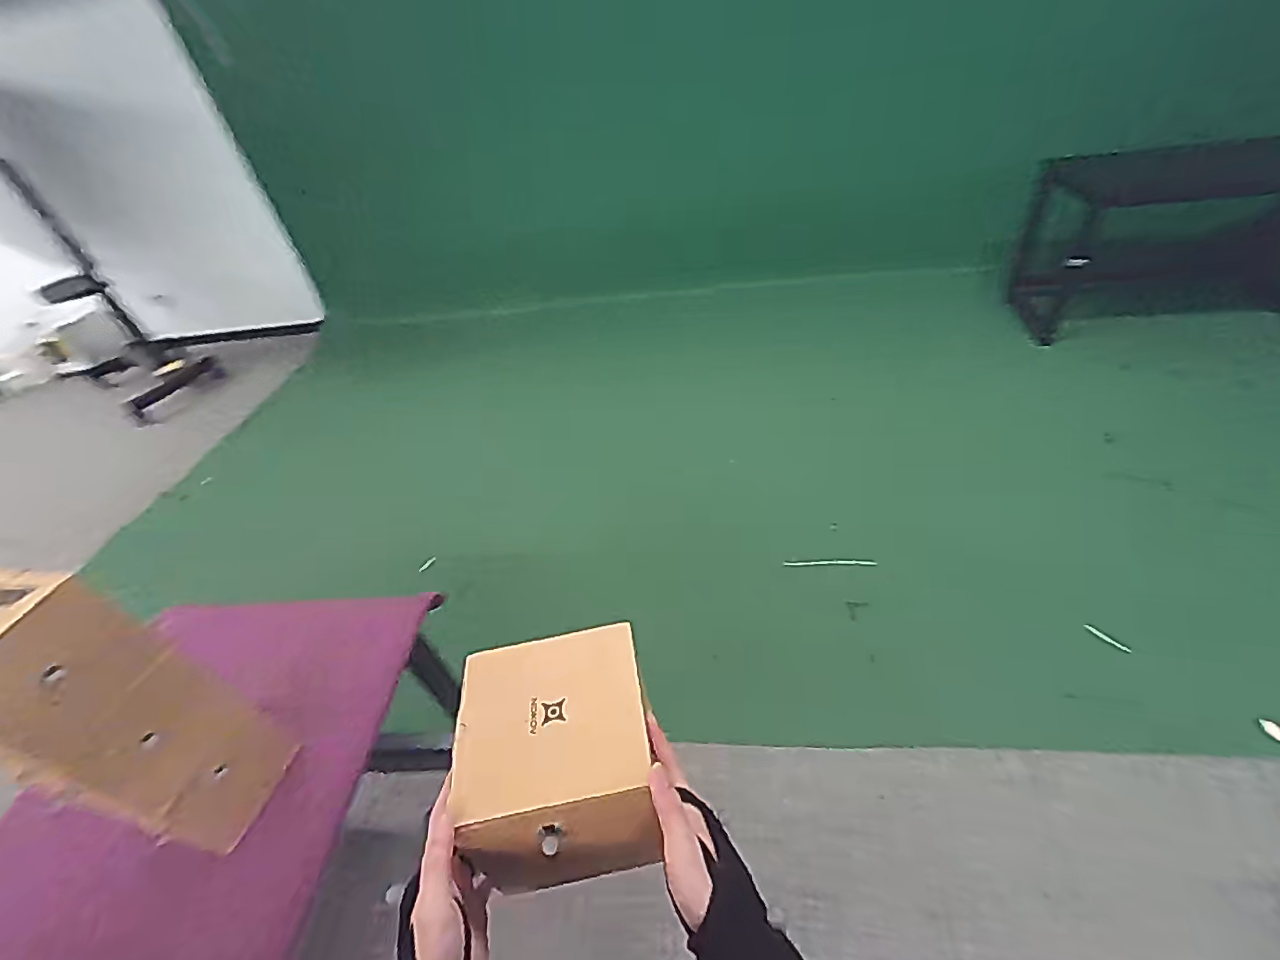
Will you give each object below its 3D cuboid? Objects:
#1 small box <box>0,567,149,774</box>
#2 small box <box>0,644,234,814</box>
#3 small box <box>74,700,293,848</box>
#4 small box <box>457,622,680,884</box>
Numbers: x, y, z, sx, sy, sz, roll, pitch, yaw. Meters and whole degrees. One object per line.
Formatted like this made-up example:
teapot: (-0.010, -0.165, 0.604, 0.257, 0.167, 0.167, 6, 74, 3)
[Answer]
small box: (-0.763, 0.226, 0.655, 0.168, 0.176, 0.179, 1, 45, 13)
small box: (-0.739, 0.346, 0.765, 0.168, 0.176, 0.179, 2, 45, 13)
small box: (-0.717, 0.464, 0.876, 0.168, 0.176, 0.179, 4, 44, 15)
small box: (-0.058, 0.272, 0.541, 0.179, 0.176, 0.168, -11, 38, 0)
